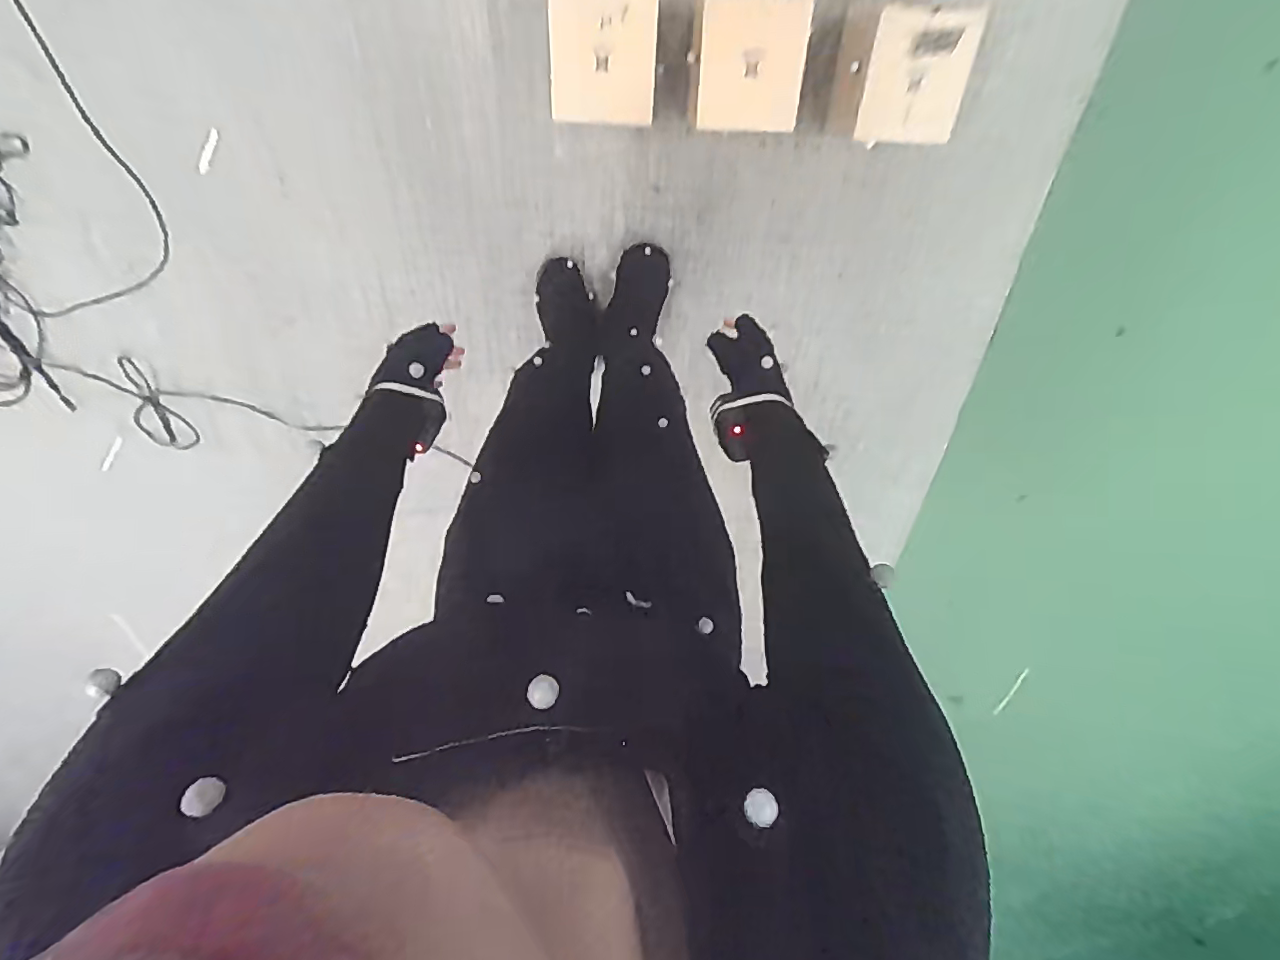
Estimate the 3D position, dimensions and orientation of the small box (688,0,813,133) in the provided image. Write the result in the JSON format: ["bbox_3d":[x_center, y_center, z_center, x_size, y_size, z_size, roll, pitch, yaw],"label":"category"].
[{"bbox_3d":[0.174,-0.697,0.912,0.168,0.176,0.179,0,125,-2],"label":"small box"}]

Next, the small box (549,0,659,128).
[{"bbox_3d":[-0.058,-0.700,0.901,0.168,0.176,0.179,1,125,-3],"label":"small box"}]

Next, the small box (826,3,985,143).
[{"bbox_3d":[0.437,-0.687,0.925,0.168,0.176,0.179,0,126,-2],"label":"small box"}]
